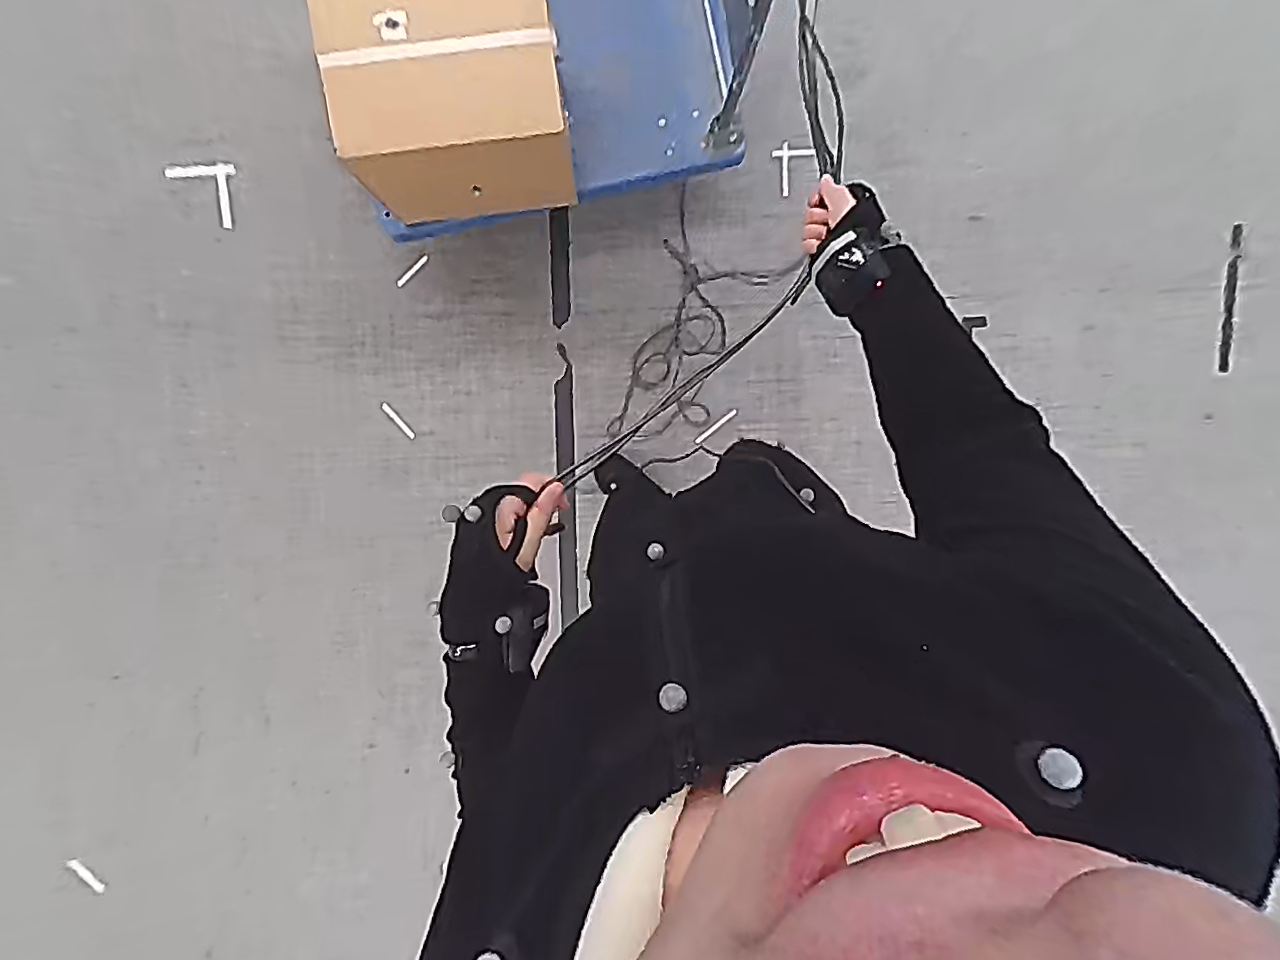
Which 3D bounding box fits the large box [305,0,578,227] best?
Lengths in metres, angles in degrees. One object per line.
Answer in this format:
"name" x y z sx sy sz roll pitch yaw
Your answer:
"large box" -0.357 -0.739 1.080 0.408 0.320 0.320 -8 94 -1
